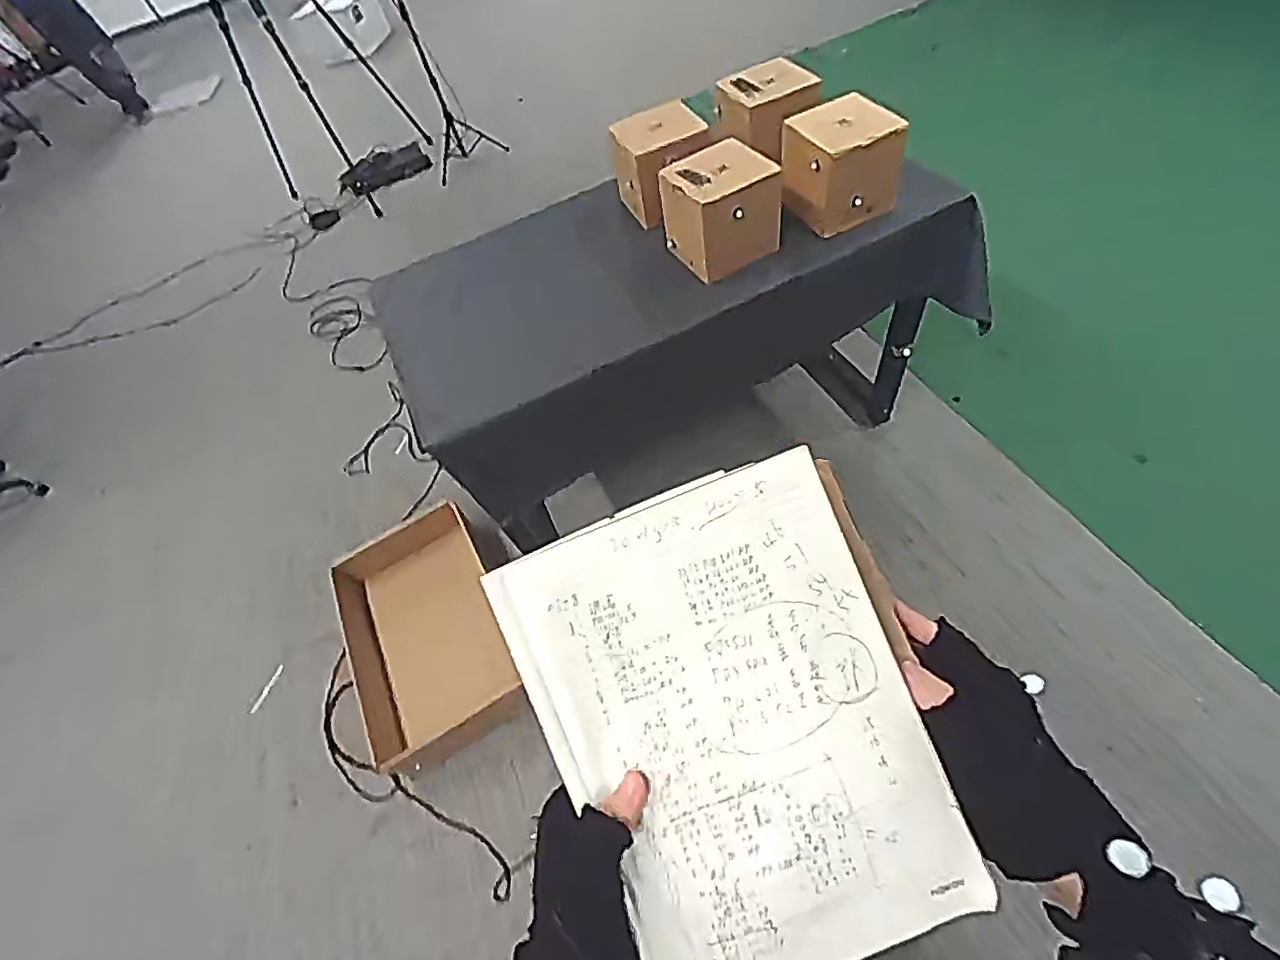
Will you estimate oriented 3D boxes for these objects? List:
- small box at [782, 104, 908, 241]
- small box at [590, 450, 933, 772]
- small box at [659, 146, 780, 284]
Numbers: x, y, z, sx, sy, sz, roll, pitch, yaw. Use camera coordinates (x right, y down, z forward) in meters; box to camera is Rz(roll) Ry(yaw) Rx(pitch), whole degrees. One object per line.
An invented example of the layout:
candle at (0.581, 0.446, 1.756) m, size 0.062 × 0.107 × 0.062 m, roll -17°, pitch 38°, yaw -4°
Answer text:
small box at (0.403, -0.622, 1.102) m, size 0.168 × 0.176 × 0.179 m, roll -23°, pitch 55°, yaw -5°
small box at (0.078, 0.102, 0.413) m, size 0.179 × 0.176 × 0.168 m, roll -16°, pitch 70°, yaw 2°
small box at (0.160, -0.525, 1.082) m, size 0.179 × 0.176 × 0.168 m, roll -28°, pitch 56°, yaw -9°
